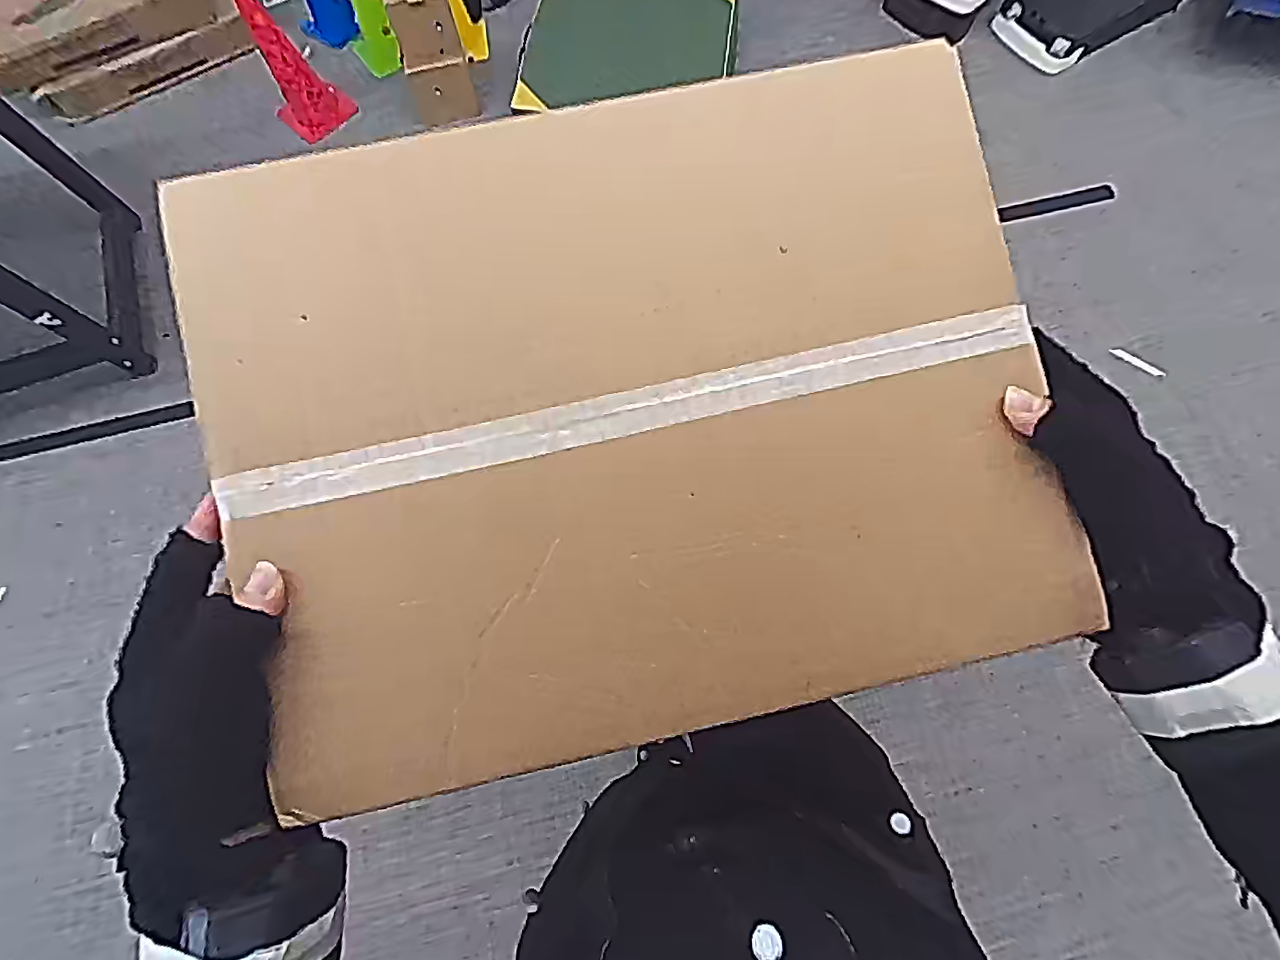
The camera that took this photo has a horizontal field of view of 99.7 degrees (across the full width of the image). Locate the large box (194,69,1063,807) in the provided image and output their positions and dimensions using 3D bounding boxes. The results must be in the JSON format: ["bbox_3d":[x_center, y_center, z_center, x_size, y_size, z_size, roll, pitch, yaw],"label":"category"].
[{"bbox_3d":[-0.007,-0.026,0.426,0.408,0.320,0.320,-12,87,-3],"label":"large box"}]
